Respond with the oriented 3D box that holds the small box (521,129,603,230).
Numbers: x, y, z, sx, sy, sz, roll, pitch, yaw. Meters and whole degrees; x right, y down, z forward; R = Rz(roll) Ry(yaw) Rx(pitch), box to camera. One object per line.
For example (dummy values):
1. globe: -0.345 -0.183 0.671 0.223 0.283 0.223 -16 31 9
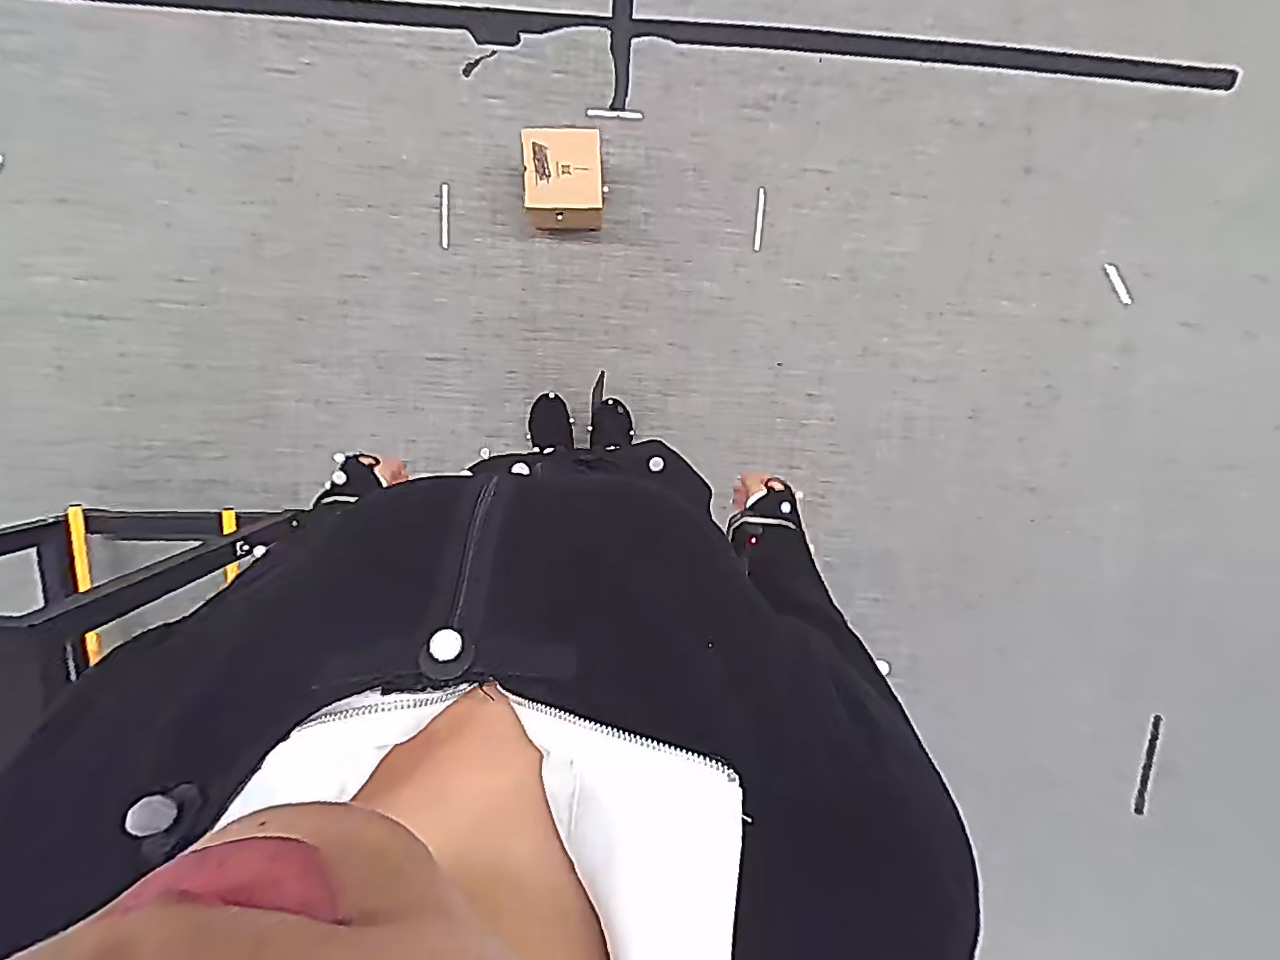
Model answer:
1. small box: -0.179 -0.701 1.277 0.179 0.176 0.168 -2 100 -4
